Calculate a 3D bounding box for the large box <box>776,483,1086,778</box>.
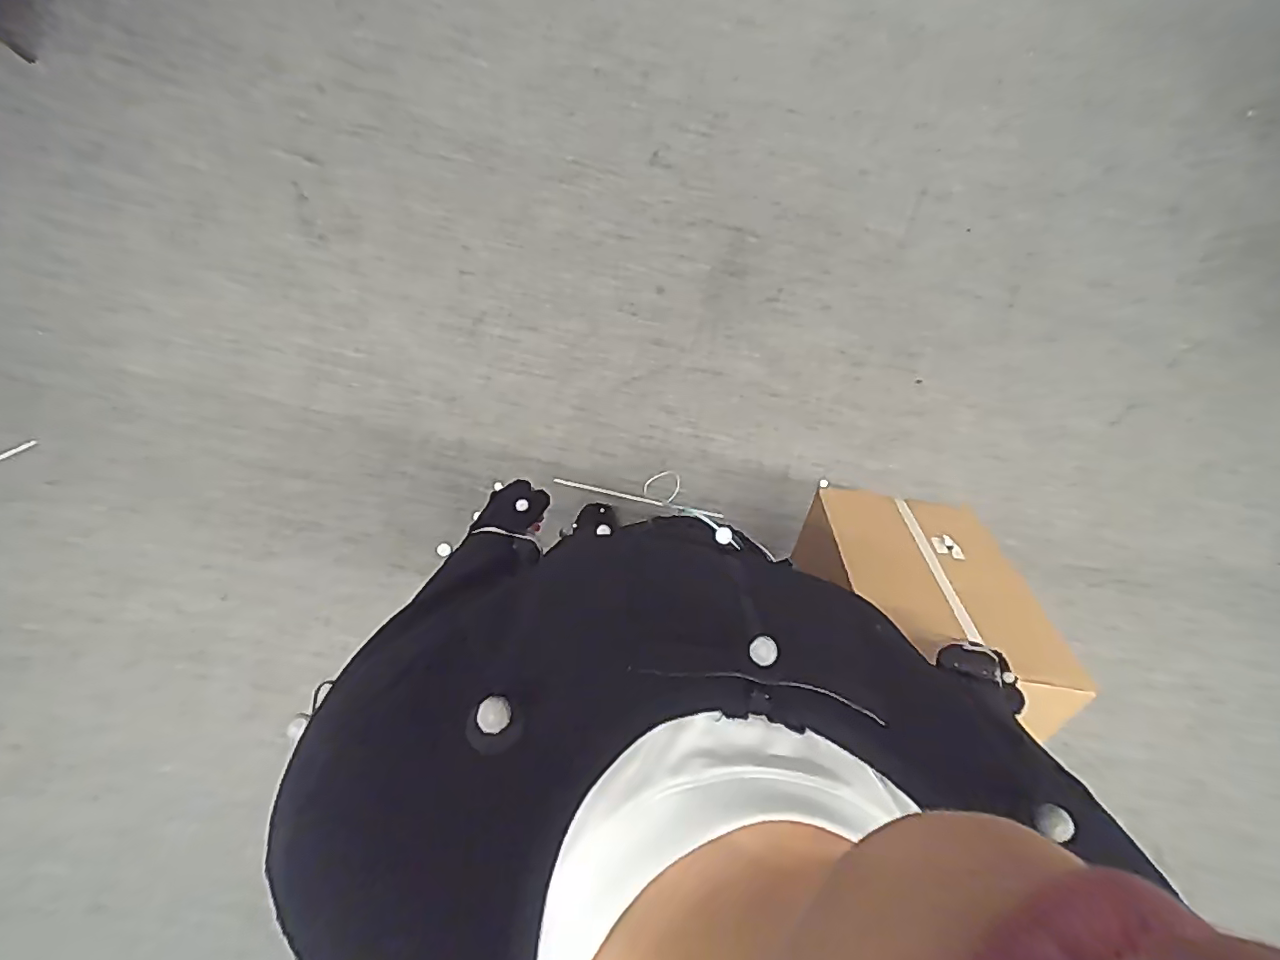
[{"bbox_3d":[0.463,0.260,0.989,0.320,0.408,0.320,10,125,-2],"label":"large box"}]
